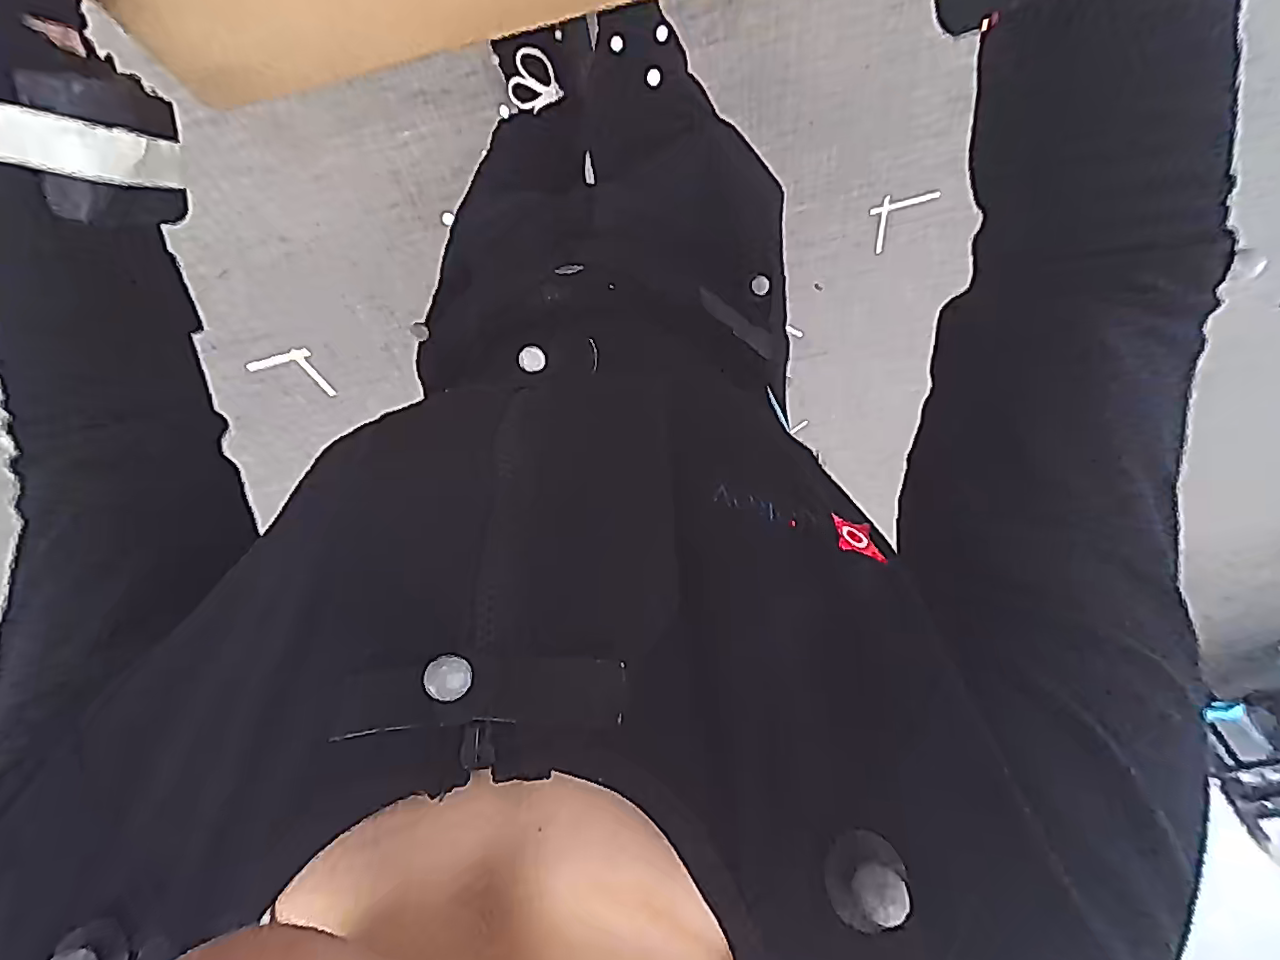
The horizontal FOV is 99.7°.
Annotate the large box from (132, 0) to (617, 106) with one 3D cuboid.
[{"bbox_3d":[-0.101,-0.441,0.202,0.408,0.320,0.320,-9,167,8],"label":"large box"}]
